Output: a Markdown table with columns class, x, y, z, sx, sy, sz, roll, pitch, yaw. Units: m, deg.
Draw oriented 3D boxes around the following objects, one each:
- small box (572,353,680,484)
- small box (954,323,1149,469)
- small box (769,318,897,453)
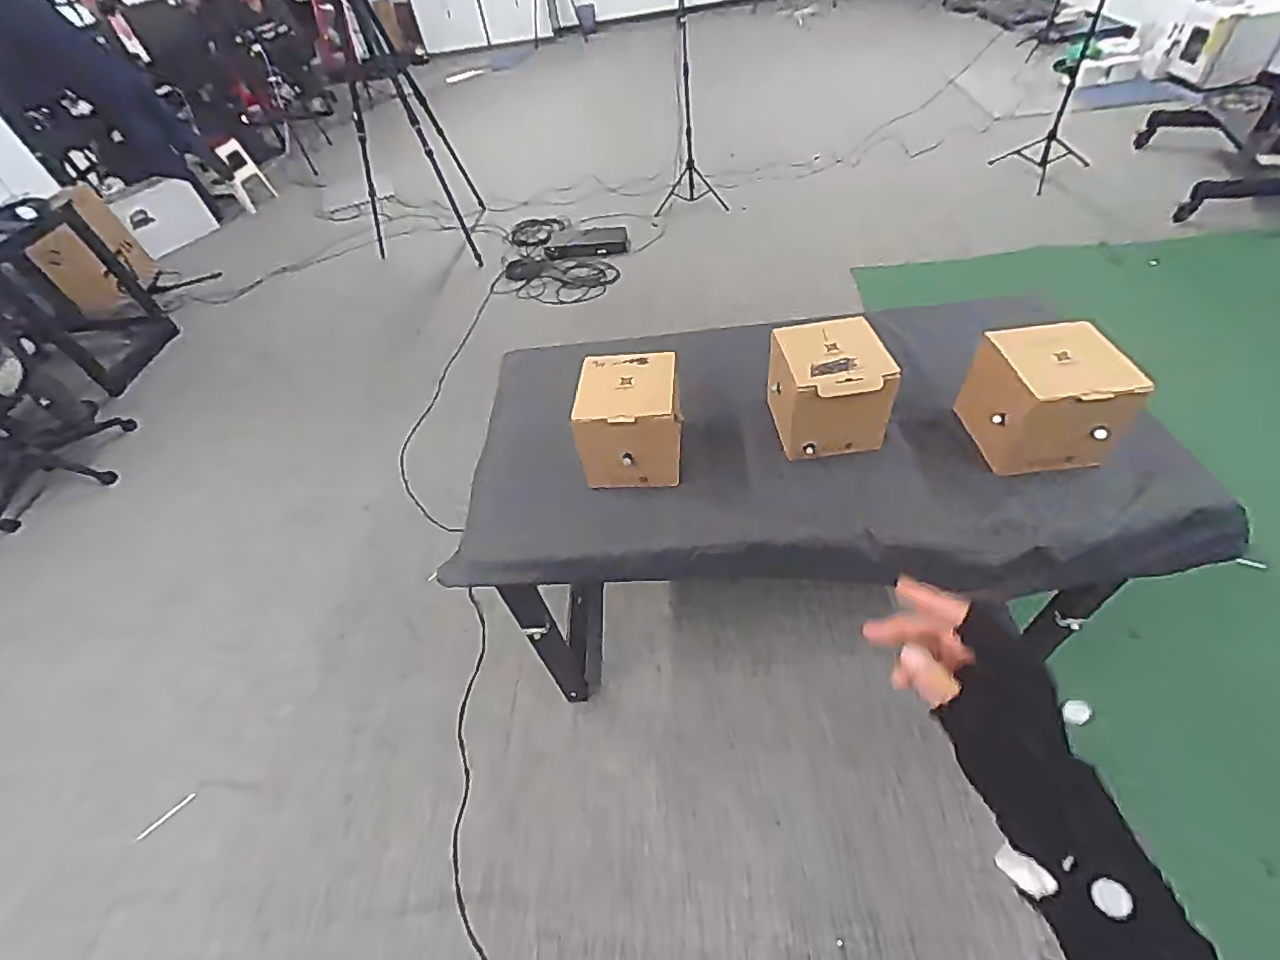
| class | x | y | z | sx | sy | sz | roll | pitch | yaw |
| --- | --- | --- | --- | --- | --- | --- | --- | --- | --- |
| small box | -0.015 | -0.104 | 0.974 | 0.168 | 0.176 | 0.179 | -1 | 48 | 8 |
| small box | 0.655 | -0.131 | 0.890 | 0.168 | 0.176 | 0.179 | -6 | 47 | 3 |
| small box | 0.332 | -0.162 | 0.969 | 0.168 | 0.176 | 0.179 | -7 | 47 | 3 |
